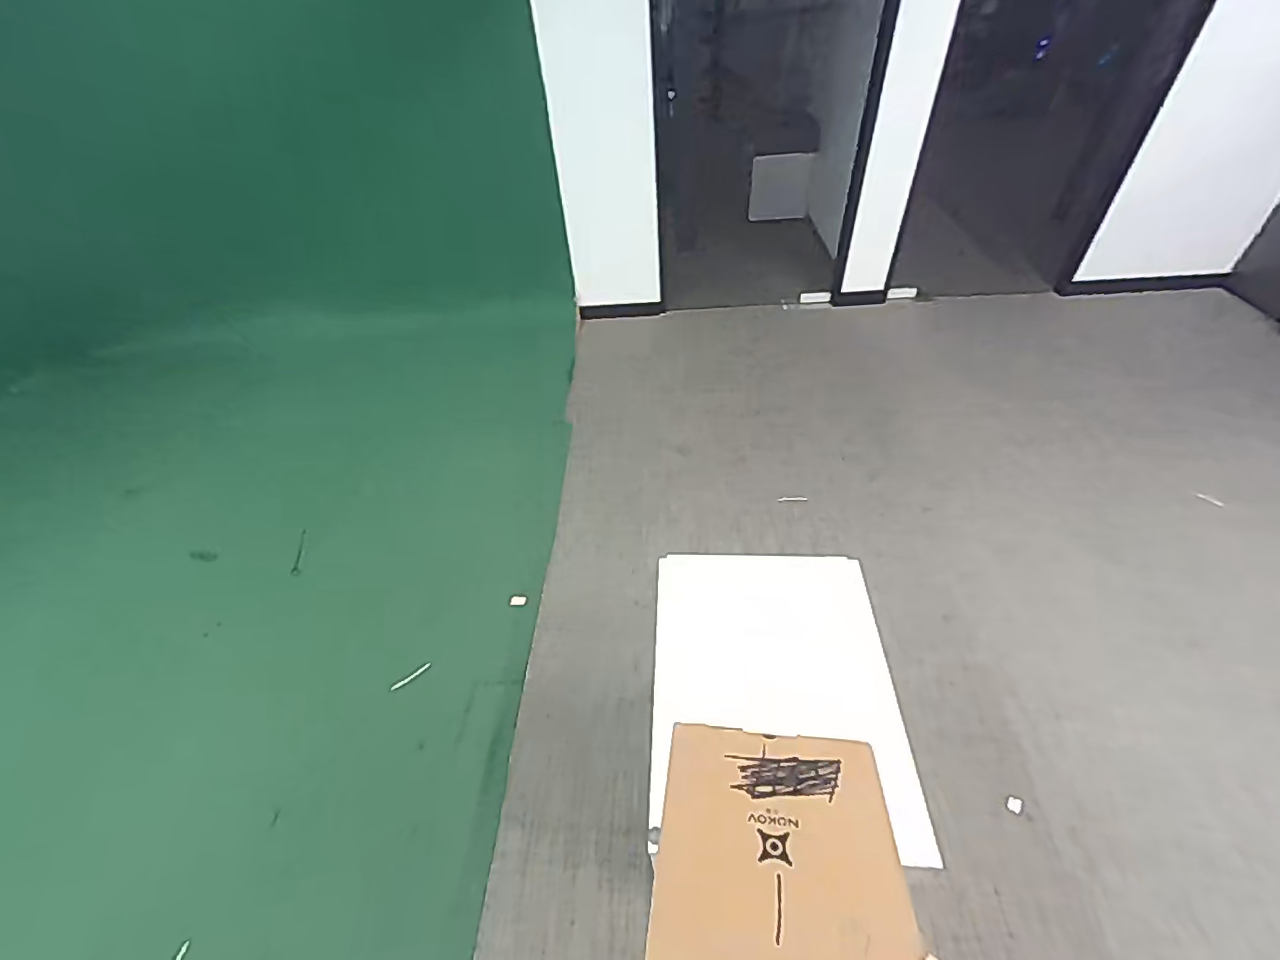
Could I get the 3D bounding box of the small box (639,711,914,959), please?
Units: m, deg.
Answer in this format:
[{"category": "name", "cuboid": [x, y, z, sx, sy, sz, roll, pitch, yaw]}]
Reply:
[{"category": "small box", "cuboid": [0.097, 0.319, 0.426, 0.168, 0.176, 0.179, 1, 27, 11]}]
